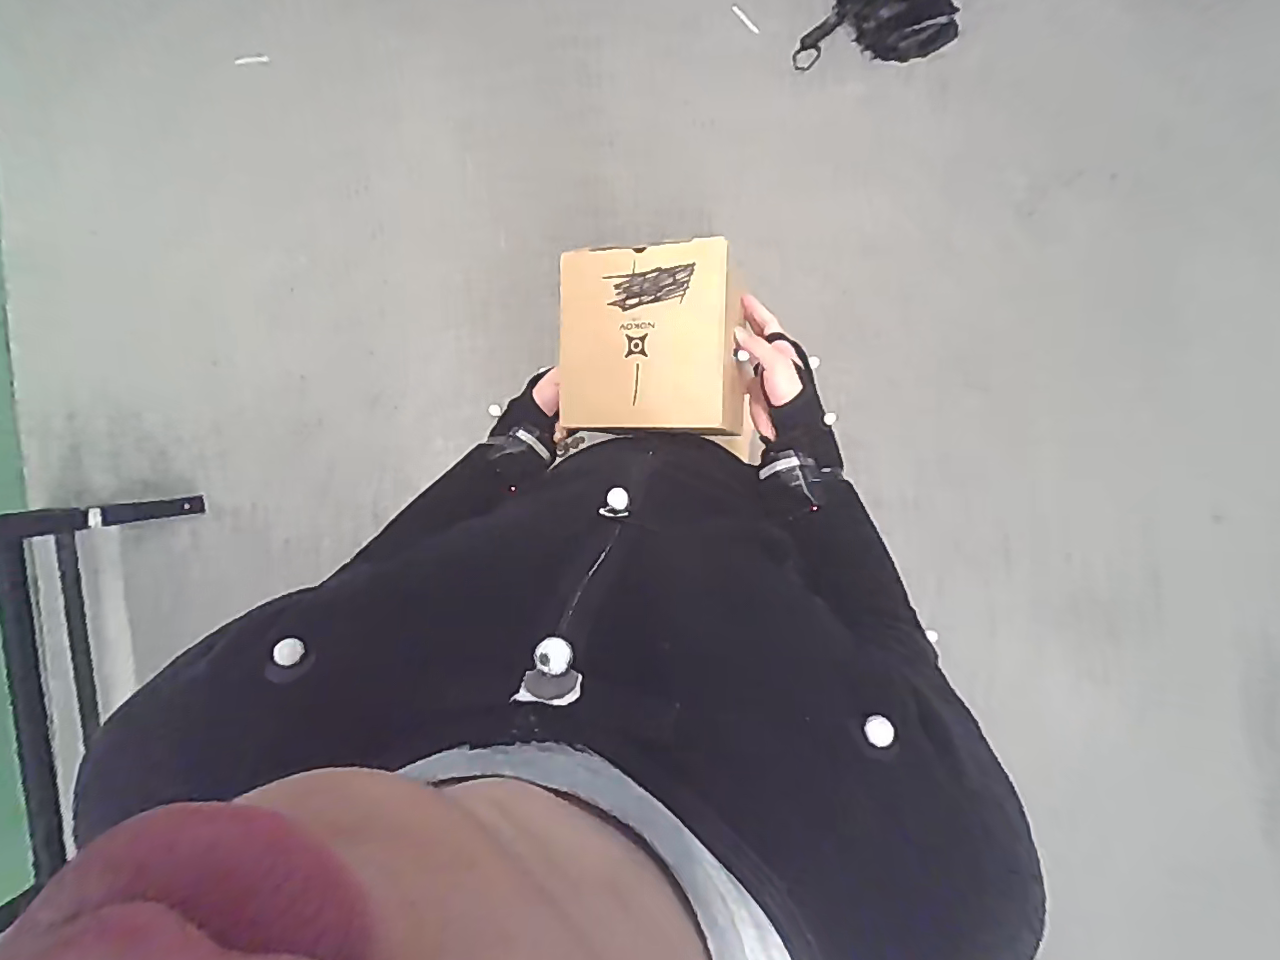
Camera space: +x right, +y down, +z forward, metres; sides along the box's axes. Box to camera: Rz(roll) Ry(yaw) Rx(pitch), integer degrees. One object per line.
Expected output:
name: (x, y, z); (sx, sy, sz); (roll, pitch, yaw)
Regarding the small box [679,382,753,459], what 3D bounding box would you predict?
small box: (0.200, -0.159, 1.463); (0.168, 0.176, 0.179); (9, 96, 5)
